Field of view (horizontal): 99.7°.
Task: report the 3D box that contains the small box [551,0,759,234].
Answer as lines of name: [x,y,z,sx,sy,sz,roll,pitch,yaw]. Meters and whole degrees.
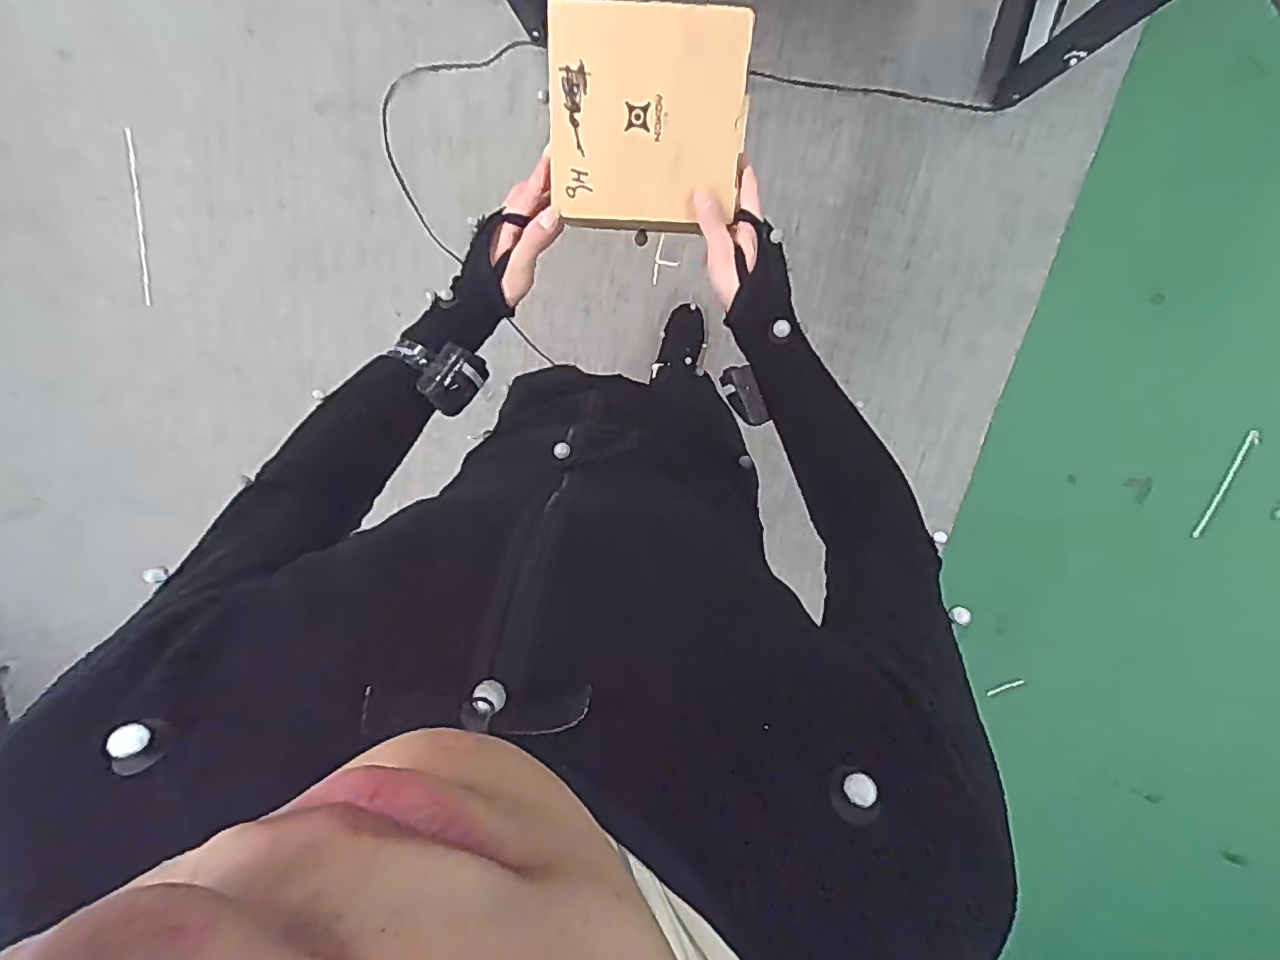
small box: [0.006,-0.349,0.551,0.179,0.176,0.168,3,111,-2]
